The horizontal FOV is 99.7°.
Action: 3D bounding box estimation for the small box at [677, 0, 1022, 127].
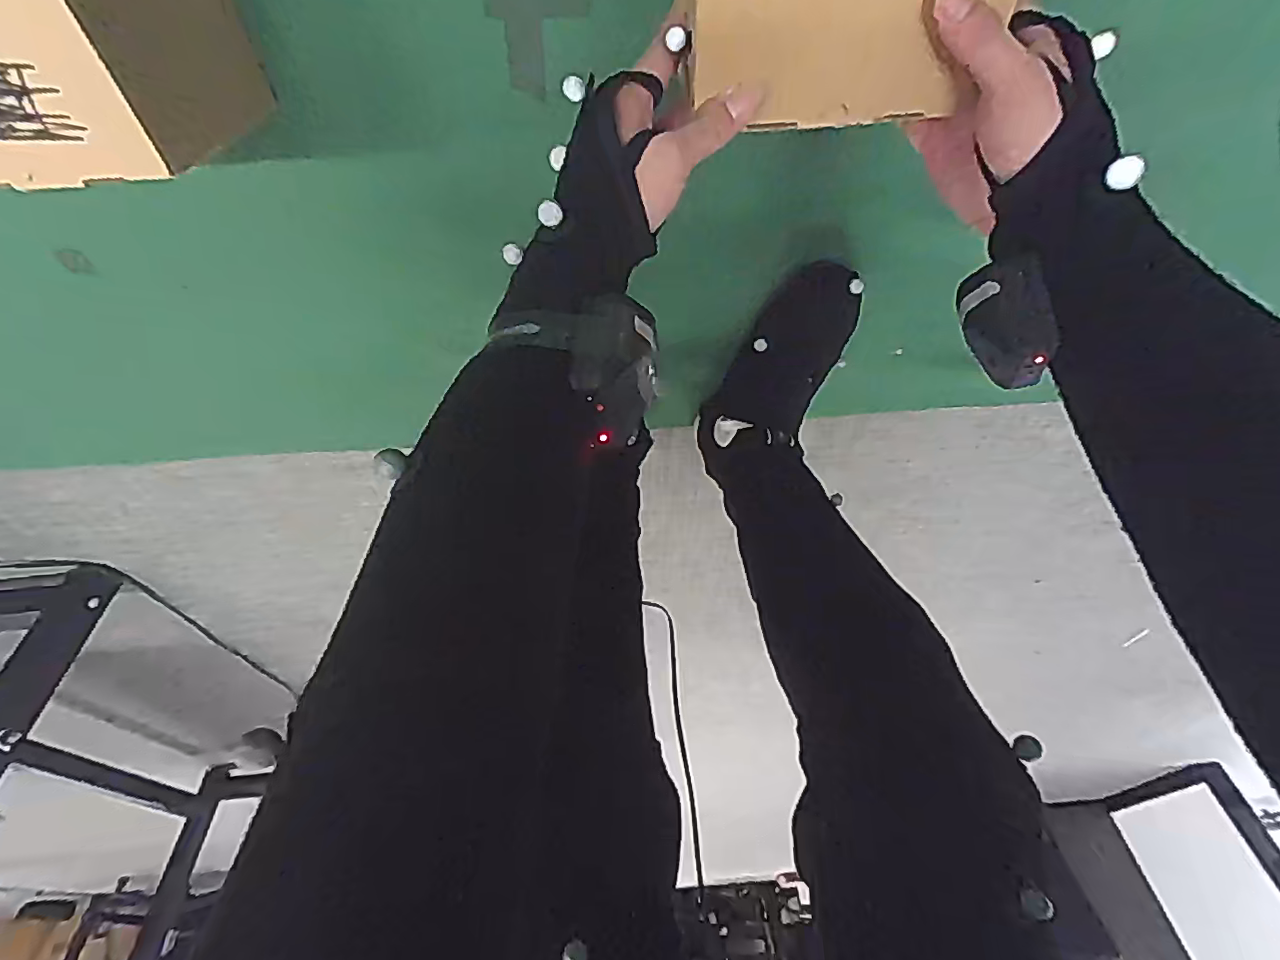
[{"bbox_3d":[0.107,-0.325,0.297,0.168,0.176,0.179,-3,140,1],"label":"small box"}]
